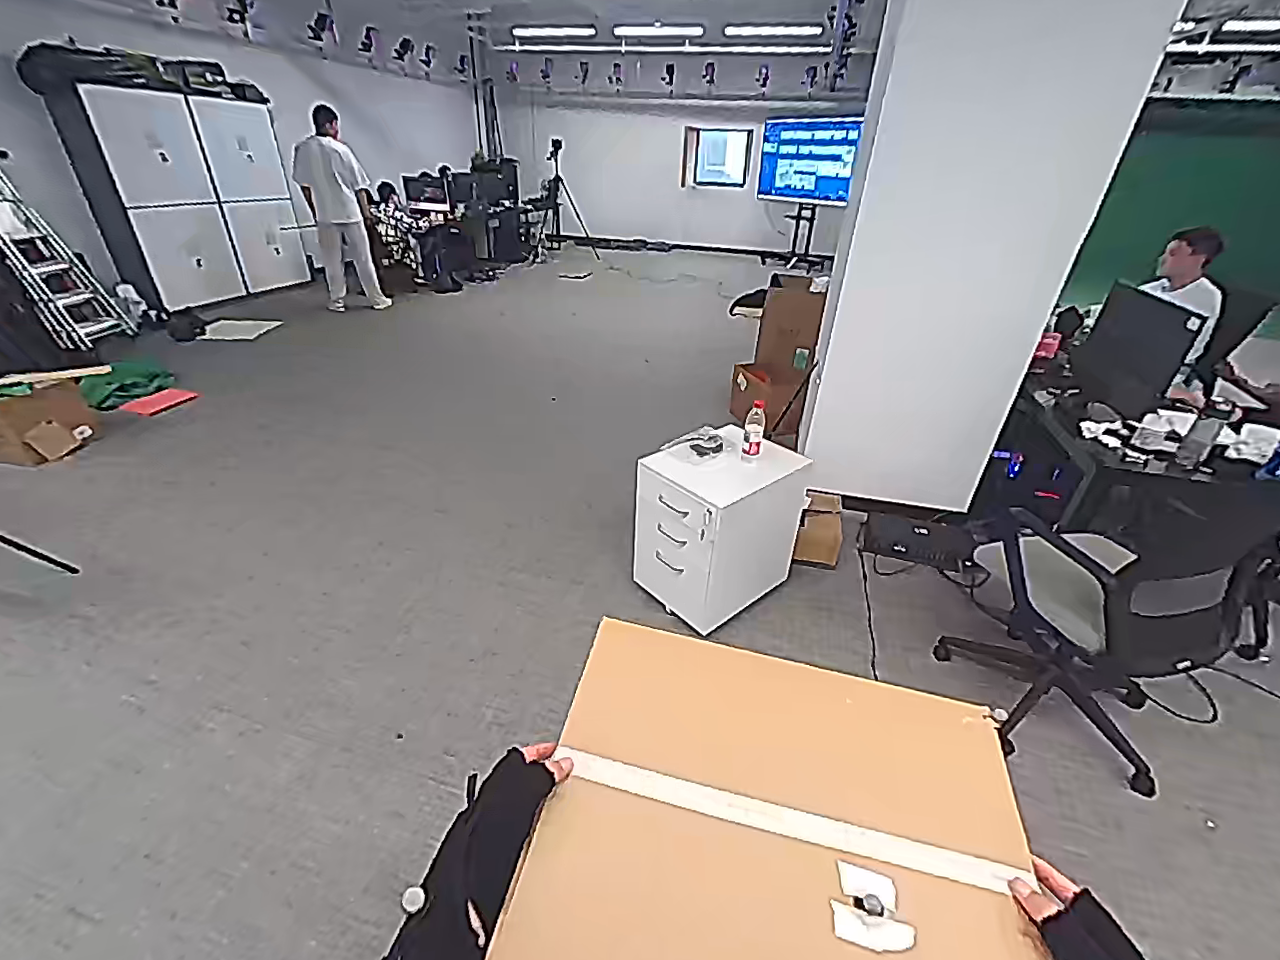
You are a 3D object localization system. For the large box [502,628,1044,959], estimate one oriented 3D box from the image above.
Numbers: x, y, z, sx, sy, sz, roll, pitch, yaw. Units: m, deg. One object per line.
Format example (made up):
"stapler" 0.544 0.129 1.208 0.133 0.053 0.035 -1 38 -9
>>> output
"large box" 0.110 0.408 0.563 0.408 0.320 0.320 12 42 7
